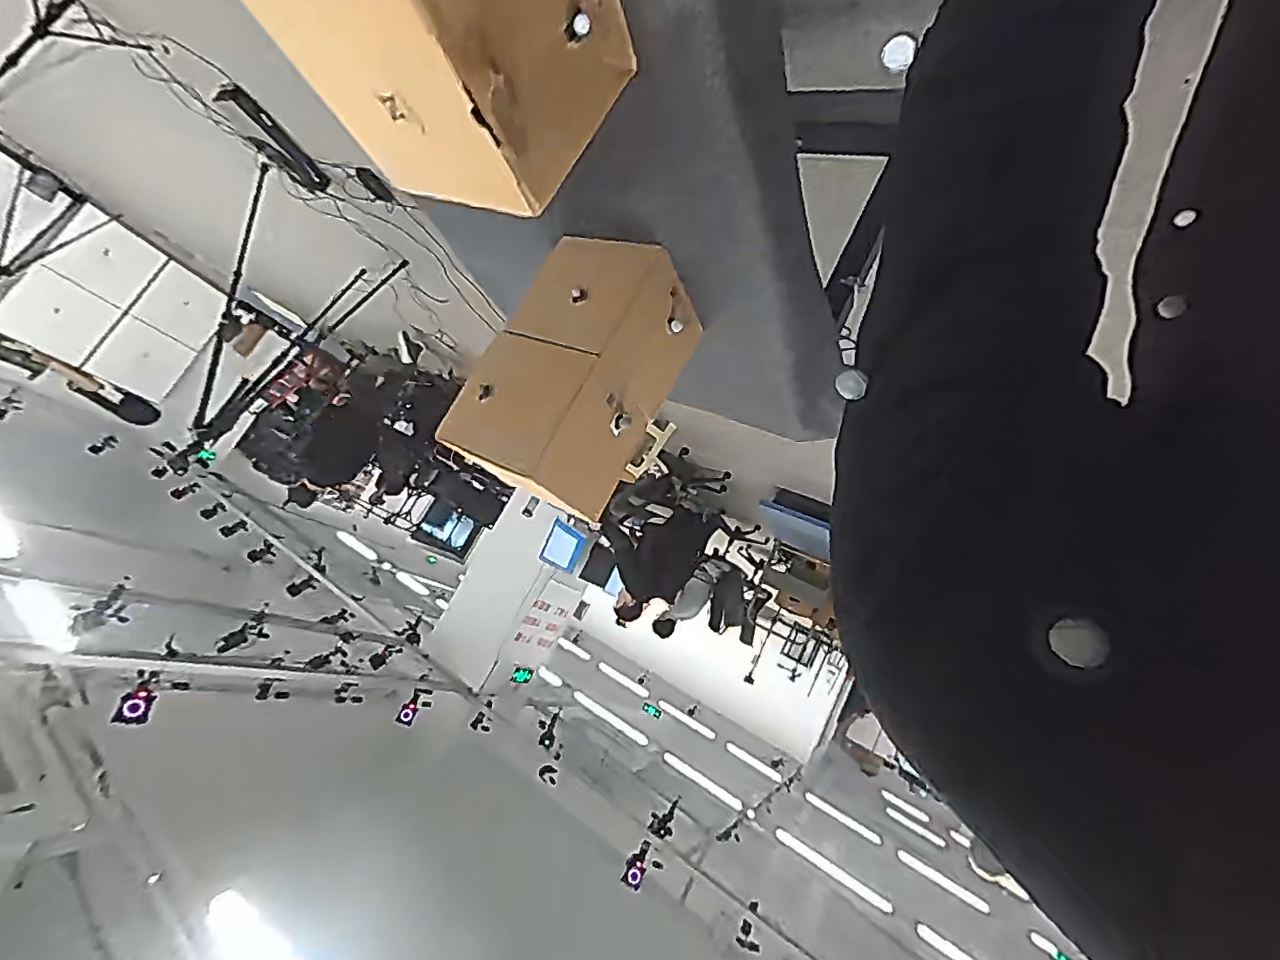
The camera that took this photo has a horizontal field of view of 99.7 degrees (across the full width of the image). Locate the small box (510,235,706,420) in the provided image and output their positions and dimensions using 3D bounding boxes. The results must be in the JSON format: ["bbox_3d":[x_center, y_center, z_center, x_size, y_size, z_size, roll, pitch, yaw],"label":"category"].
[{"bbox_3d":[-0.037,-0.212,0.748,0.179,0.176,0.168,21,167,32],"label":"small box"}]

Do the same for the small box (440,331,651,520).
[{"bbox_3d":[-0.115,-0.074,0.712,0.179,0.176,0.168,20,167,31],"label":"small box"}]

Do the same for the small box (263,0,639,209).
[{"bbox_3d":[-0.129,-0.342,0.403,0.179,0.176,0.168,23,167,25],"label":"small box"}]
